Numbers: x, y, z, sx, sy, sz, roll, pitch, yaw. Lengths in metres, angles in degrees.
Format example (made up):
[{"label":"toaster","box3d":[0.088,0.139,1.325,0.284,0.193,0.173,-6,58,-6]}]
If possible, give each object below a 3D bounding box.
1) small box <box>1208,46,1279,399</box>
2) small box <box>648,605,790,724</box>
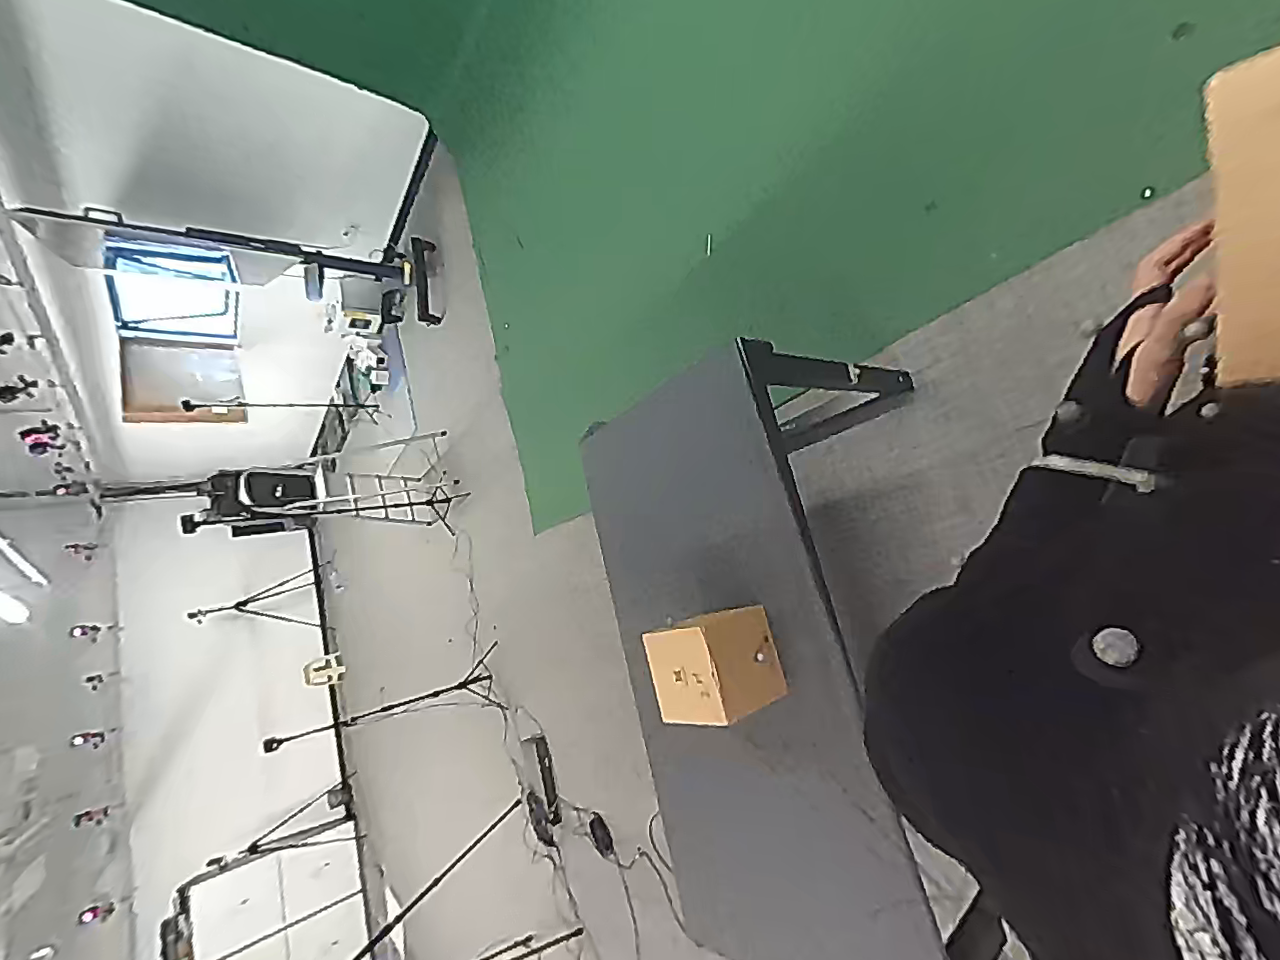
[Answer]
[{"label":"small box","box3d":[0.435,-0.147,0.295,0.168,0.176,0.179,-5,89,49]},{"label":"small box","box3d":[0.146,0.341,1.010,0.179,0.176,0.168,-28,73,49]}]
